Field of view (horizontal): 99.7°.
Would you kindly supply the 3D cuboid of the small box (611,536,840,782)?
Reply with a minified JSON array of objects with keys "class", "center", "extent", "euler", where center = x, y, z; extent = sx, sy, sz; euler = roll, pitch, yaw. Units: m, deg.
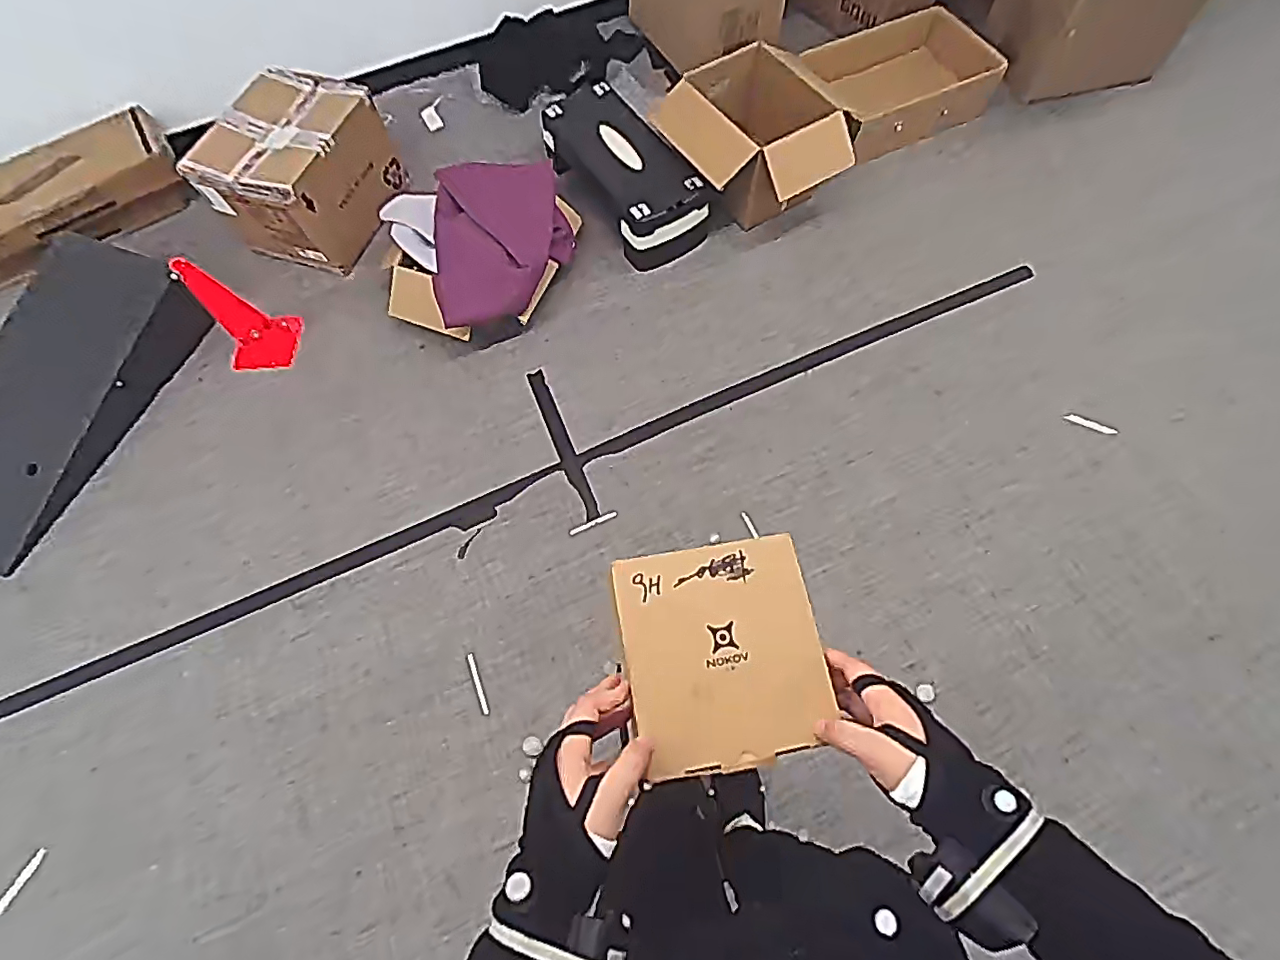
[{"class":"small box","center":[0.065,0.166,0.527],"extent":[0.168,0.176,0.179],"euler":[-9,73,-7]}]
